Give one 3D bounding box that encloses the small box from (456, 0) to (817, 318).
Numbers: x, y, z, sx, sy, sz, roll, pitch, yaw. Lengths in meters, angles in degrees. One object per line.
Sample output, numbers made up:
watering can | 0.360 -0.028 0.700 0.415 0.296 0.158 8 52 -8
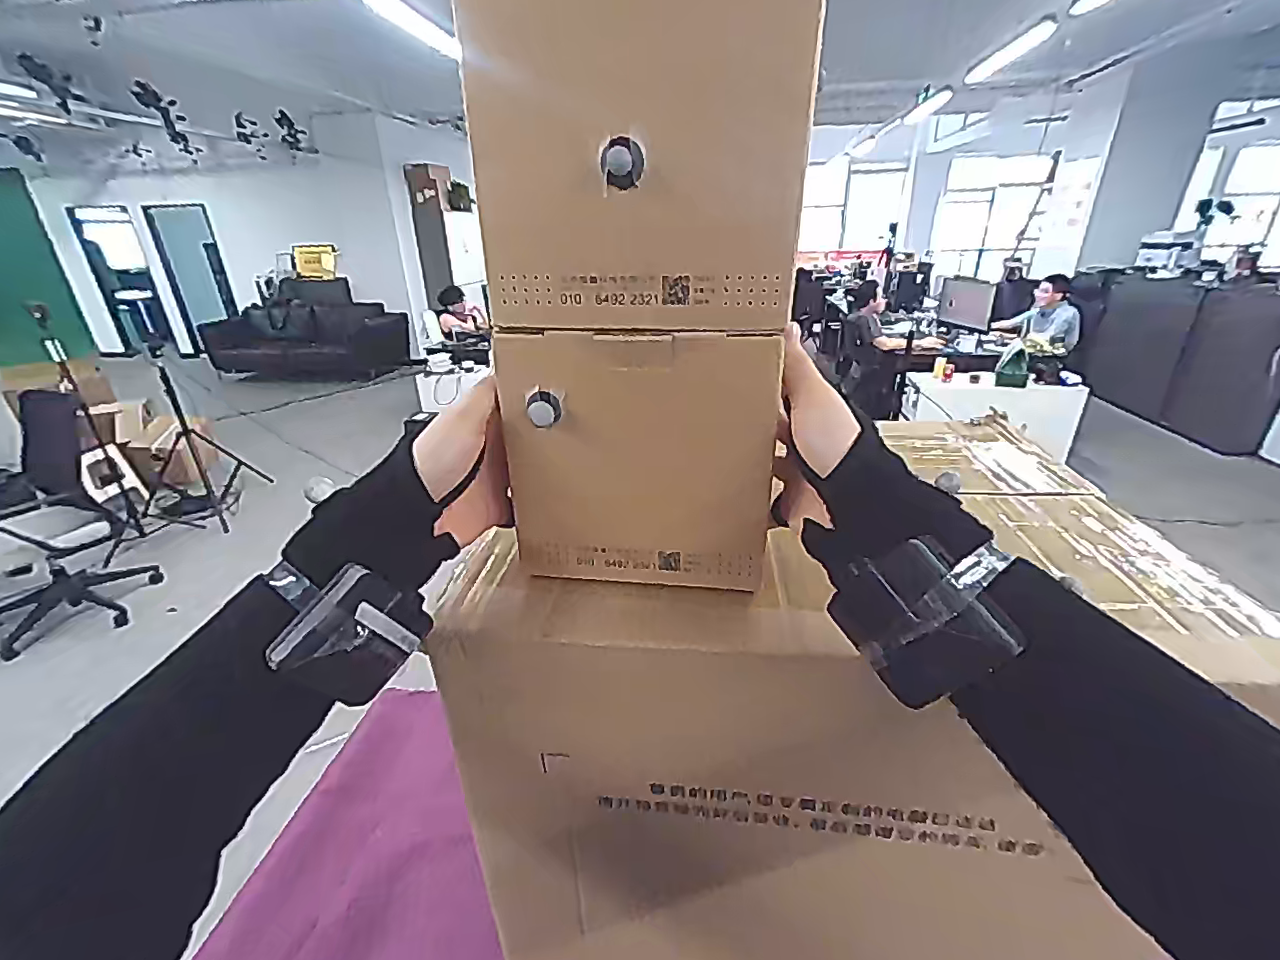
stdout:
small box | 0.009 -0.197 0.335 0.168 0.176 0.179 3 25 6
